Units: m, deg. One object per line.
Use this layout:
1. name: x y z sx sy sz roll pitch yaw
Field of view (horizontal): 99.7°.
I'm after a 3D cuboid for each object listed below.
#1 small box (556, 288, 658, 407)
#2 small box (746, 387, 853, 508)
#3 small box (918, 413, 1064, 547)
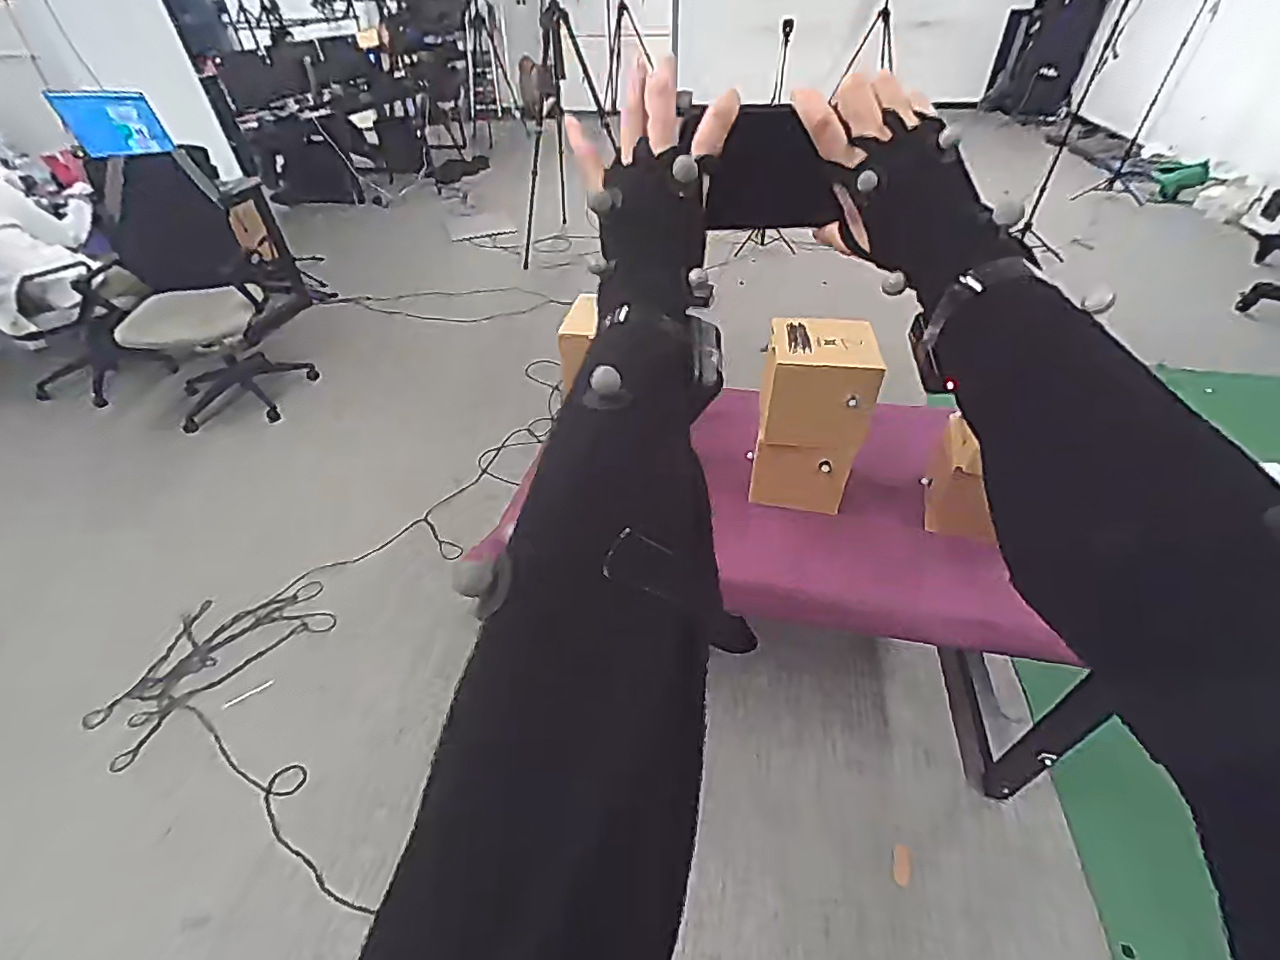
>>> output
1. small box: -0.055 -0.263 1.078 0.168 0.176 0.179 7 44 8
2. small box: 0.319 -0.063 1.090 0.179 0.176 0.168 9 44 12
3. small box: 0.644 0.002 1.013 0.179 0.176 0.168 14 45 16
